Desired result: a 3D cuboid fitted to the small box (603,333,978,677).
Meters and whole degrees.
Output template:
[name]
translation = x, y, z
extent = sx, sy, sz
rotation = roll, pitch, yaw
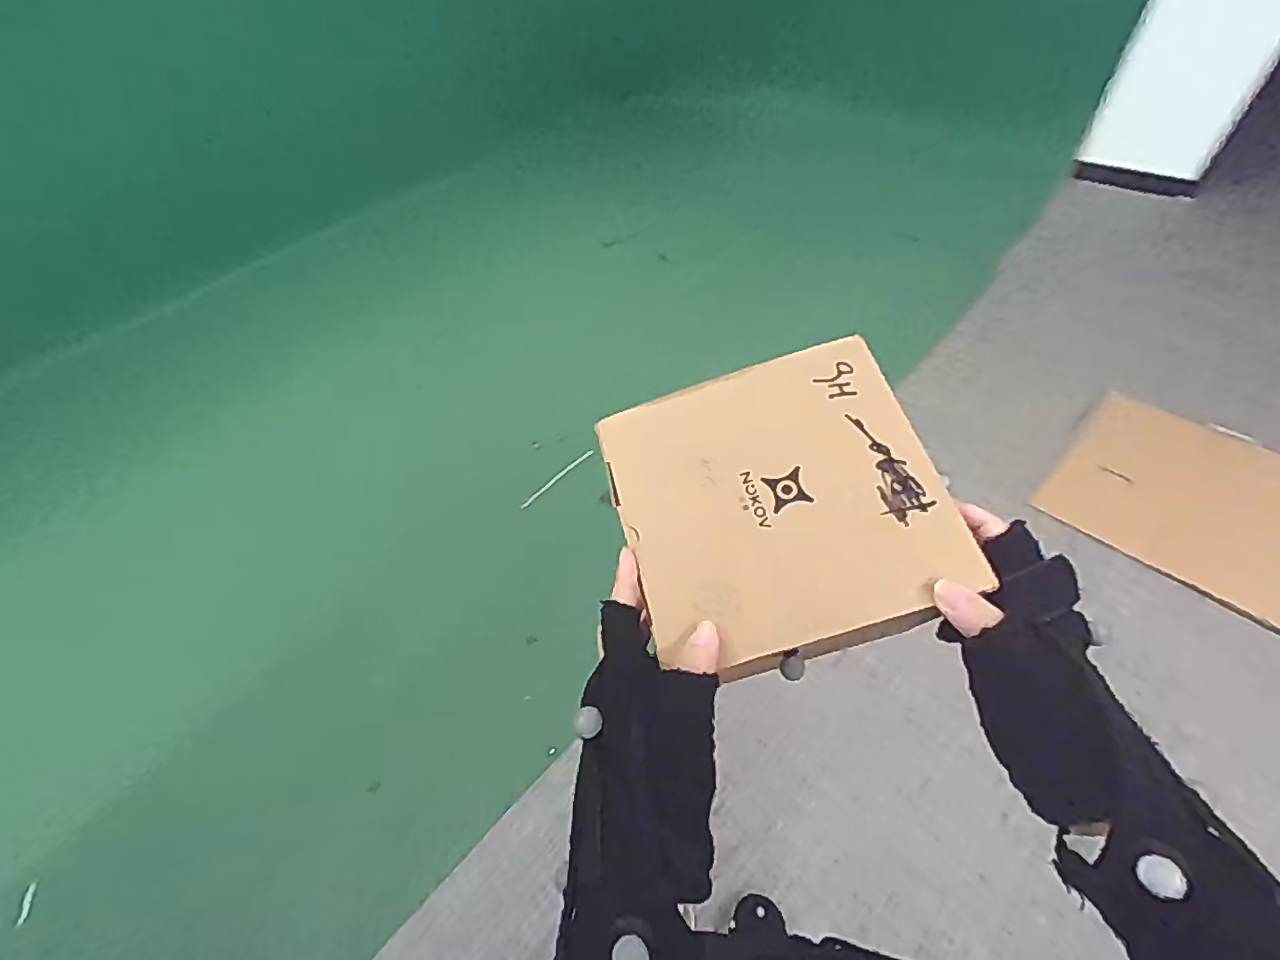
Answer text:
[small box]
translation = 0.092, 0.033, 0.393
extent = 0.179, 0.176, 0.168
rotation = -19, 63, 3
